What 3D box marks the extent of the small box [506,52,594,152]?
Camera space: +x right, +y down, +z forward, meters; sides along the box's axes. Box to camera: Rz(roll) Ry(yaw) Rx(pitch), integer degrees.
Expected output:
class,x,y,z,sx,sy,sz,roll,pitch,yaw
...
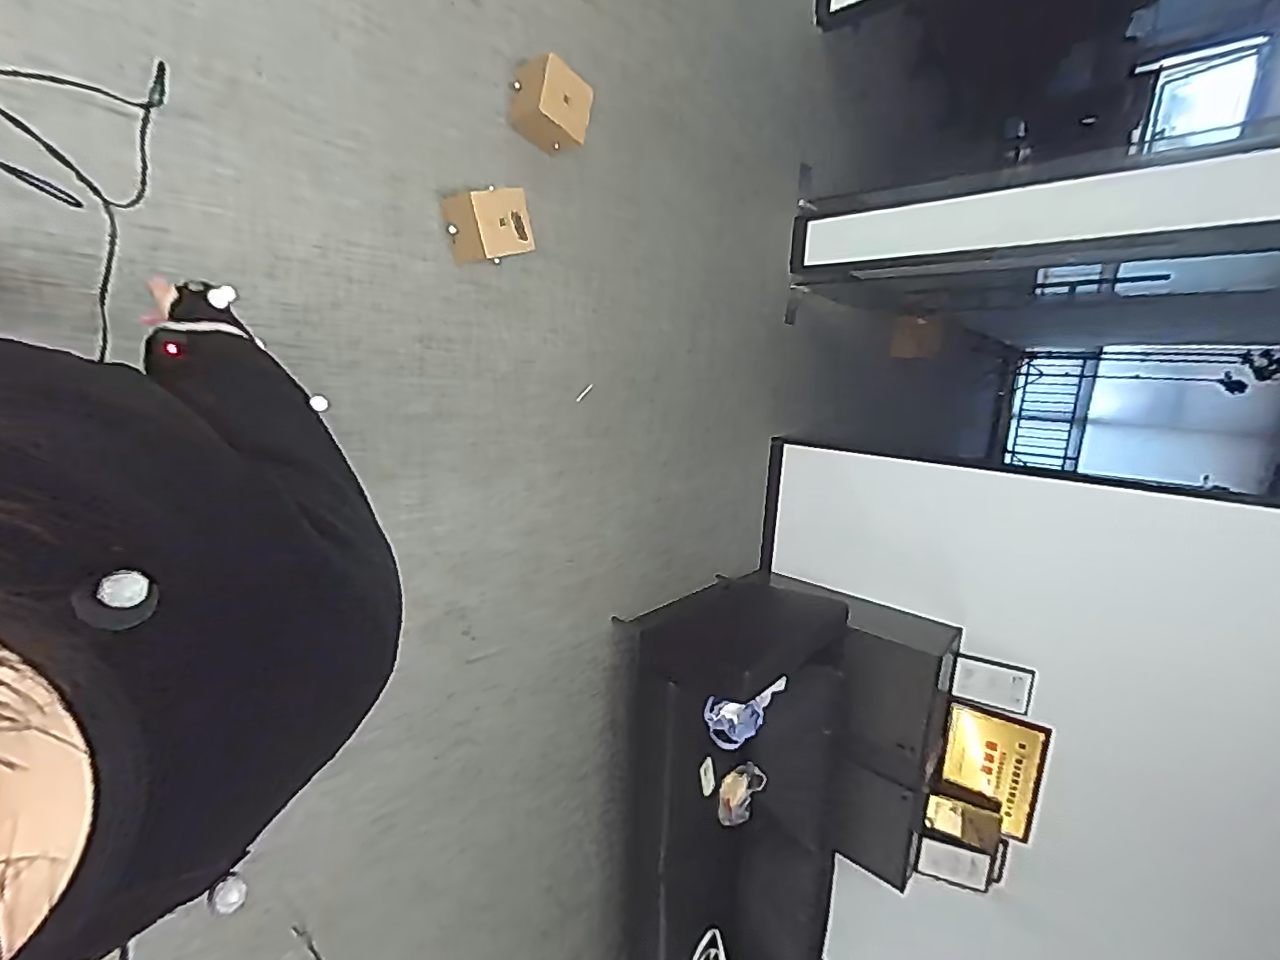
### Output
class,x,y,z,sx,sy,sz,roll,pitch,yaw
small box,-0.270,-1.120,1.622,0.179,0.176,0.168,11,91,-49
